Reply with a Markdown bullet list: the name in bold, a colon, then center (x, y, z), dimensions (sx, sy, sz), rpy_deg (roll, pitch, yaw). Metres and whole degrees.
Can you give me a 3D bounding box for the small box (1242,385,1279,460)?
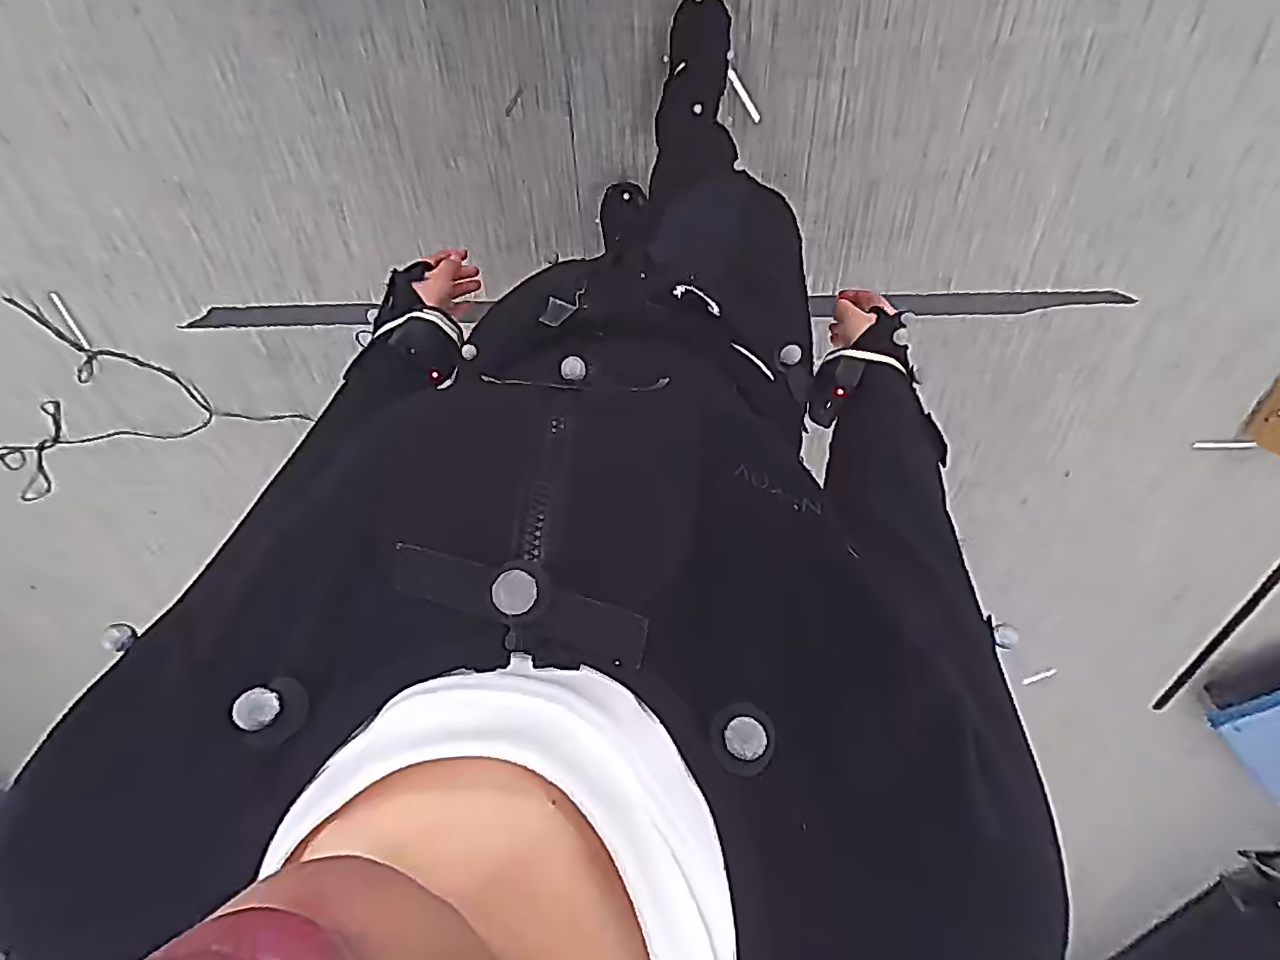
- **small box**: center (1.635, -0.134, 1.286), dimensions (0.179, 0.176, 0.168), rpy_deg (0, 126, 3)
